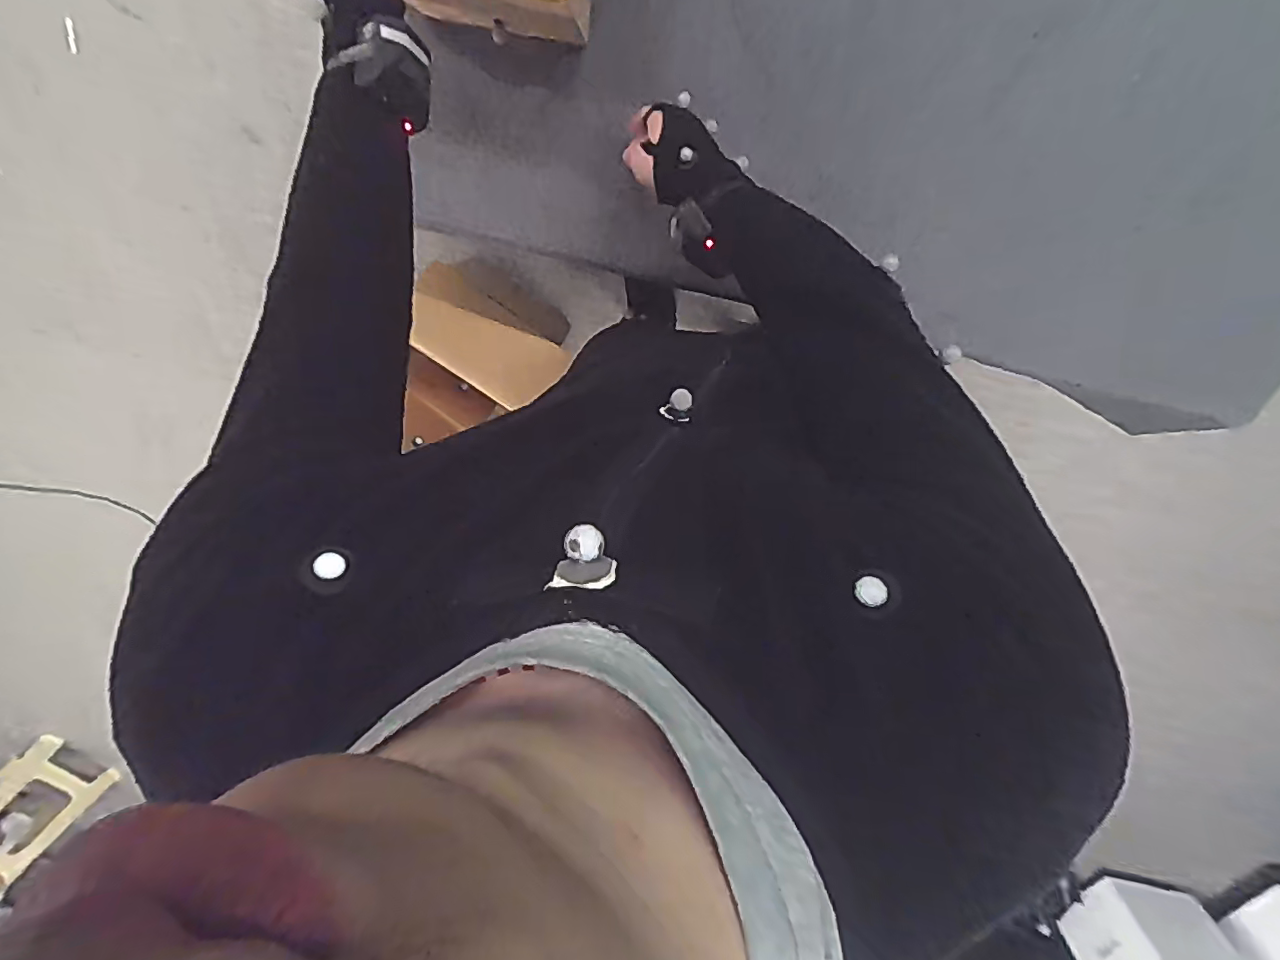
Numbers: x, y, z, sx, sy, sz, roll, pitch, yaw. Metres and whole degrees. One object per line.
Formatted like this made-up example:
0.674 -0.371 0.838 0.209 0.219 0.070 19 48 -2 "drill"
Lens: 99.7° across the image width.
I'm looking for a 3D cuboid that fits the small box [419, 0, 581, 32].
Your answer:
-0.135 -0.517 0.465 0.179 0.176 0.168 8 119 -5 "small box"
